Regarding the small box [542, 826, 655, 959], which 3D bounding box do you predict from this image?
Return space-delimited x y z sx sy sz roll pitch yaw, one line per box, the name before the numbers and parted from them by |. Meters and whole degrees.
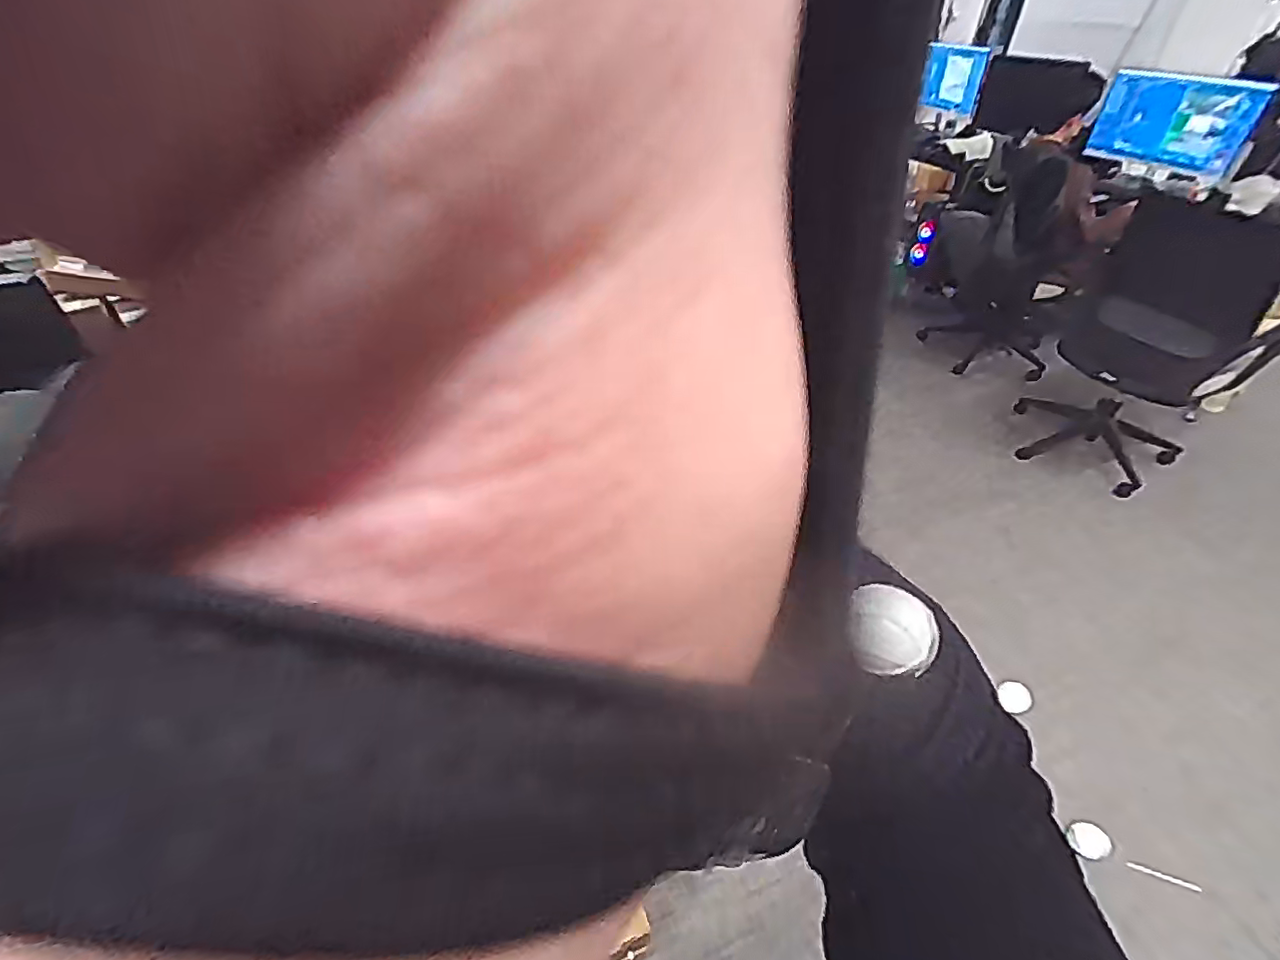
small box | -0.077 0.818 1.046 0.168 0.176 0.179 -18 45 -17
